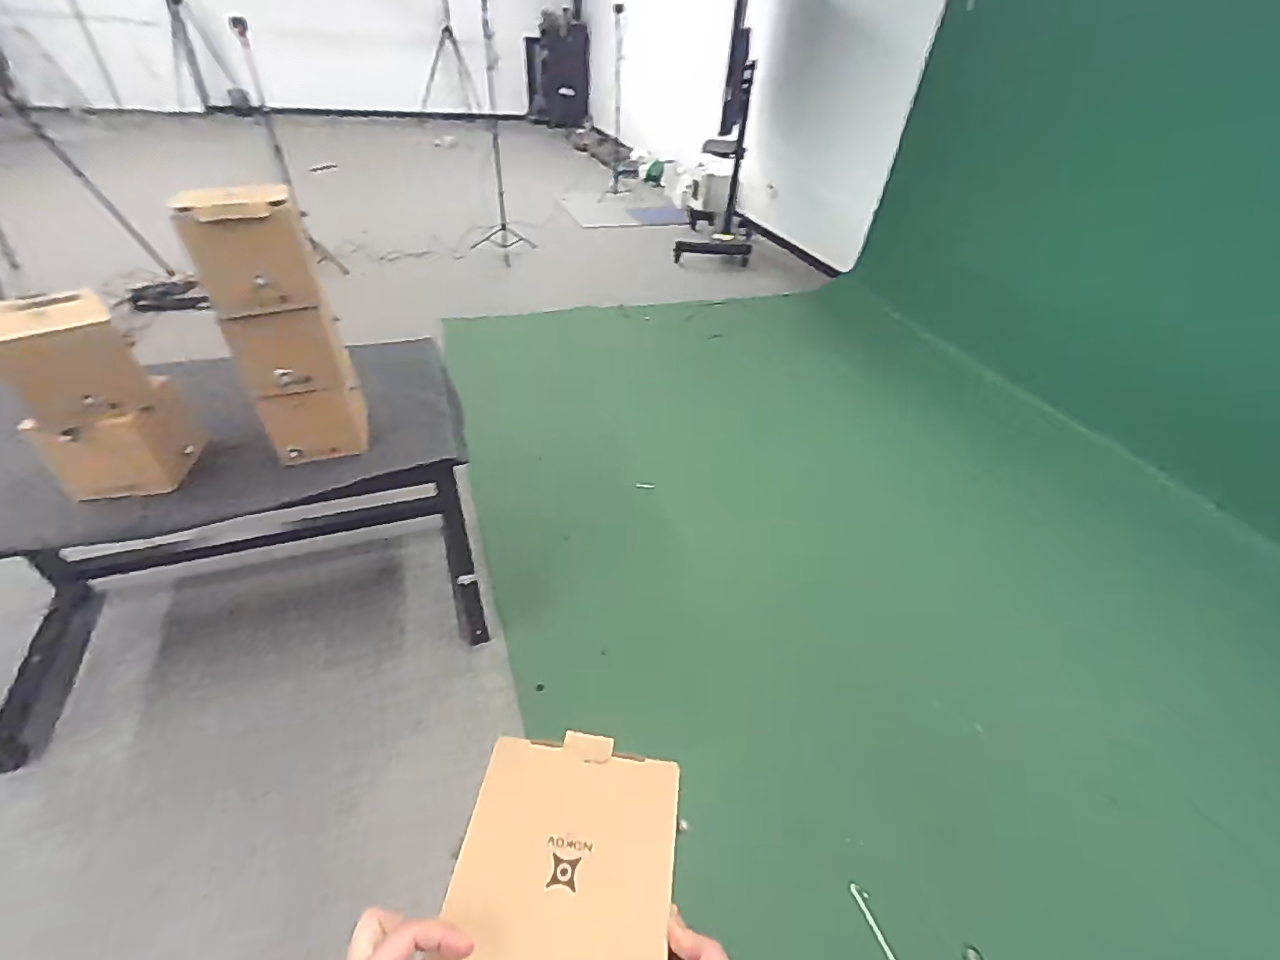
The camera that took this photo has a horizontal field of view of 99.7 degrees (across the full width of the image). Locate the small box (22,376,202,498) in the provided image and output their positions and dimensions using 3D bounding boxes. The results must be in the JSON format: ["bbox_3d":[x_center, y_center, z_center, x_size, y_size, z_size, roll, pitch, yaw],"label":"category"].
[{"bbox_3d":[-0.994,-0.085,1.044,0.168,0.176,0.179,-5,40,-12],"label":"small box"}]

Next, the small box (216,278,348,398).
[{"bbox_3d":[-0.685,-0.281,1.055,0.168,0.176,0.179,-15,44,-20],"label":"small box"}]

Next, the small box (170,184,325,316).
[{"bbox_3d":[-0.672,-0.404,0.945,0.168,0.176,0.179,-18,44,-22],"label":"small box"}]

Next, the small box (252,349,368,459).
[{"bbox_3d":[-0.695,-0.159,1.160,0.168,0.176,0.179,-11,41,-18],"label":"small box"}]

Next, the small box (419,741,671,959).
[{"bbox_3d":[-0.067,0.354,0.458,0.168,0.176,0.179,7,39,2],"label":"small box"}]
